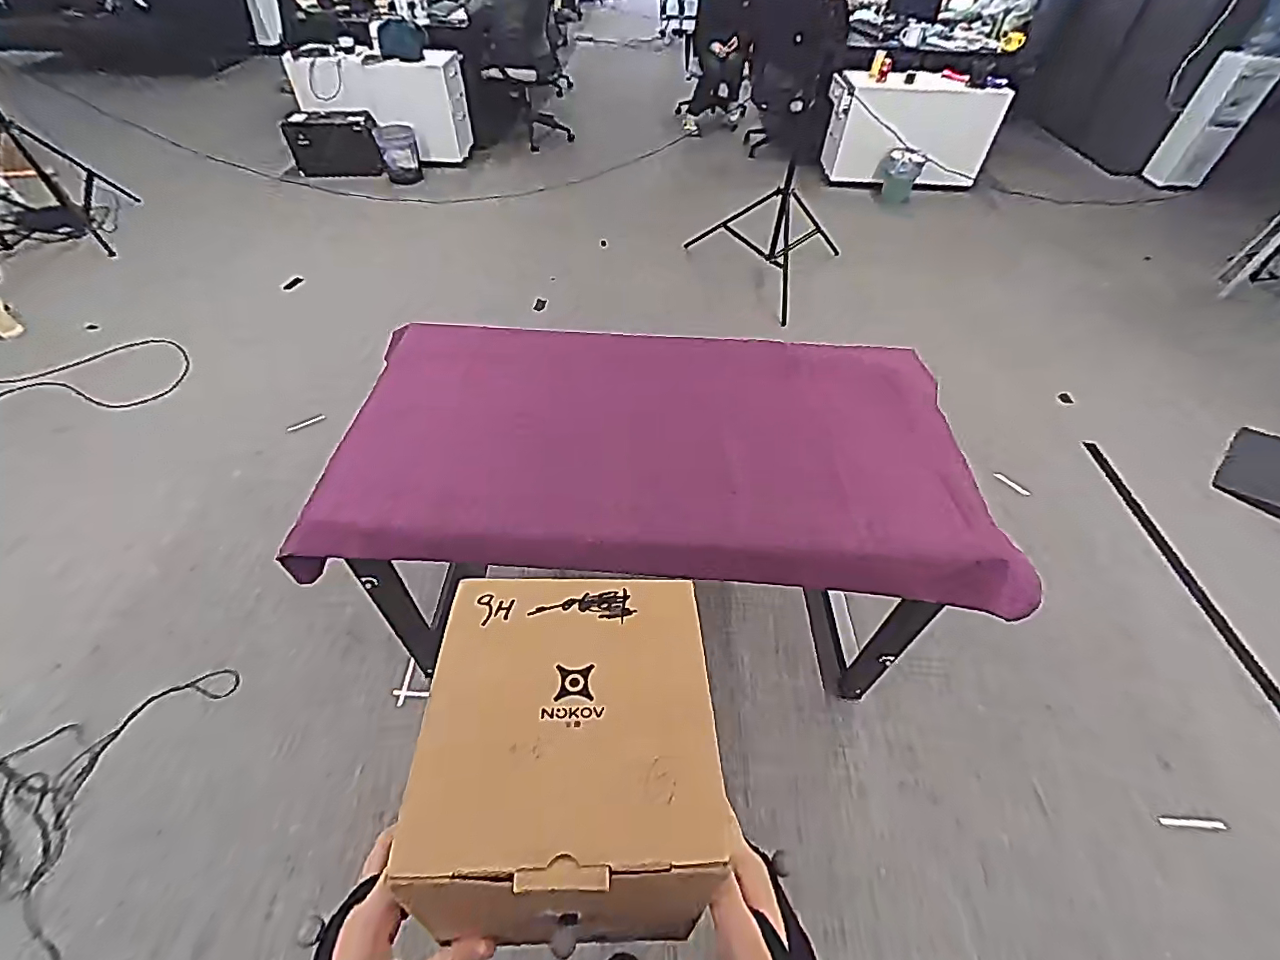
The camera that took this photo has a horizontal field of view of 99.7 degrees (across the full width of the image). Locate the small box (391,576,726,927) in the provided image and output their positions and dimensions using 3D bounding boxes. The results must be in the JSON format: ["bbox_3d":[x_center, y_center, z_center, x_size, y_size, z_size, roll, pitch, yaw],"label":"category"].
[{"bbox_3d":[-0.044,0.186,0.373,0.168,0.176,0.179,1,42,-4],"label":"small box"}]
